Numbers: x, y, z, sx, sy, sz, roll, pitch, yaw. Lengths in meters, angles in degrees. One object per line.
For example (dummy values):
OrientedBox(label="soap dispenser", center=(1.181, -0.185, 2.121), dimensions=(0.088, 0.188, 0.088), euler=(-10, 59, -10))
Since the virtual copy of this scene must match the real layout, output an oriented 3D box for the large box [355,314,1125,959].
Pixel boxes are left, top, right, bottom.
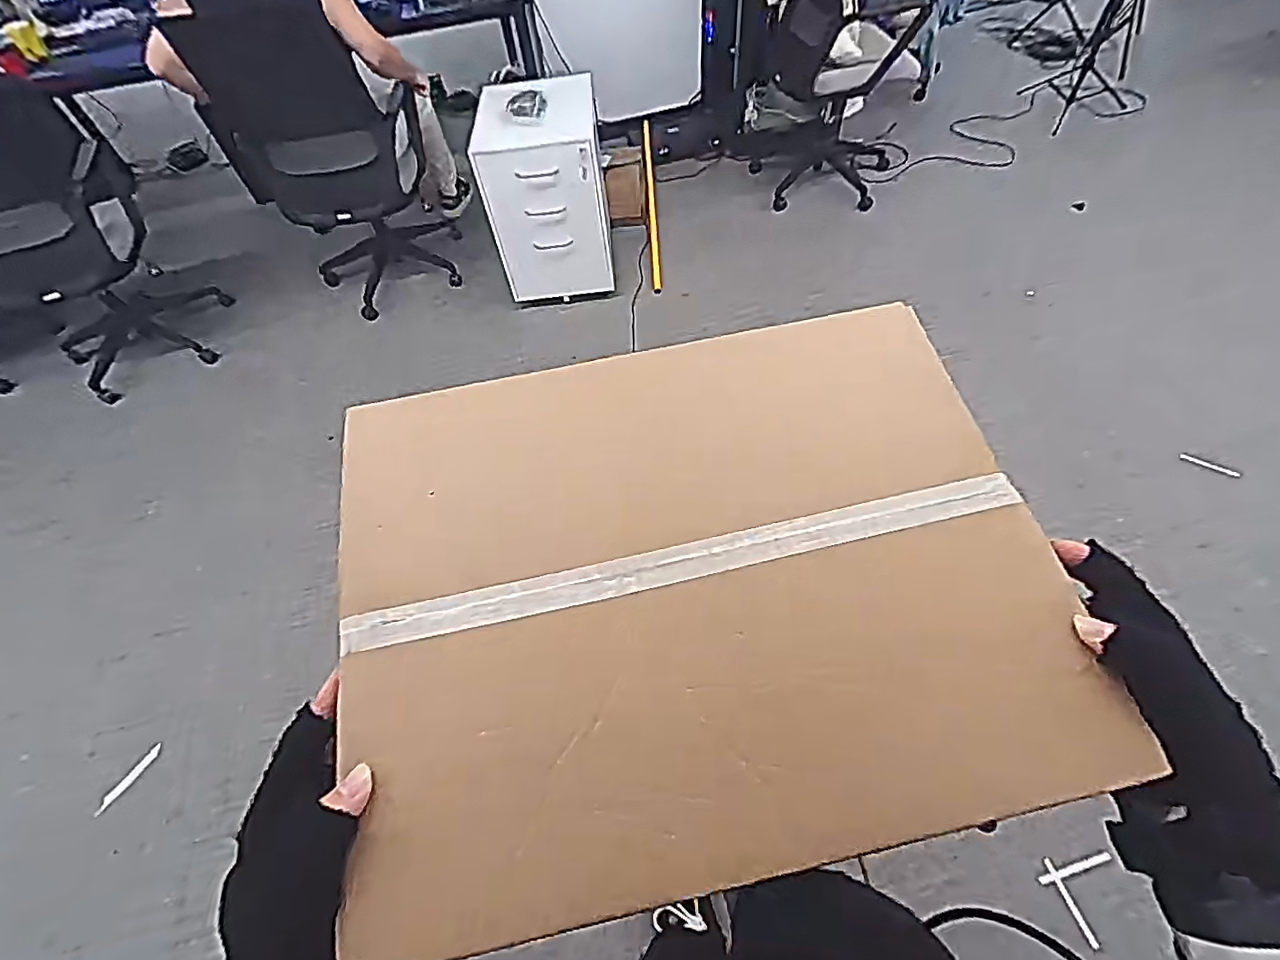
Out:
OrientedBox(label="large box", center=(0.035, 0.115, 0.462), dimensions=(0.408, 0.320, 0.320), euler=(-12, 65, -3))
